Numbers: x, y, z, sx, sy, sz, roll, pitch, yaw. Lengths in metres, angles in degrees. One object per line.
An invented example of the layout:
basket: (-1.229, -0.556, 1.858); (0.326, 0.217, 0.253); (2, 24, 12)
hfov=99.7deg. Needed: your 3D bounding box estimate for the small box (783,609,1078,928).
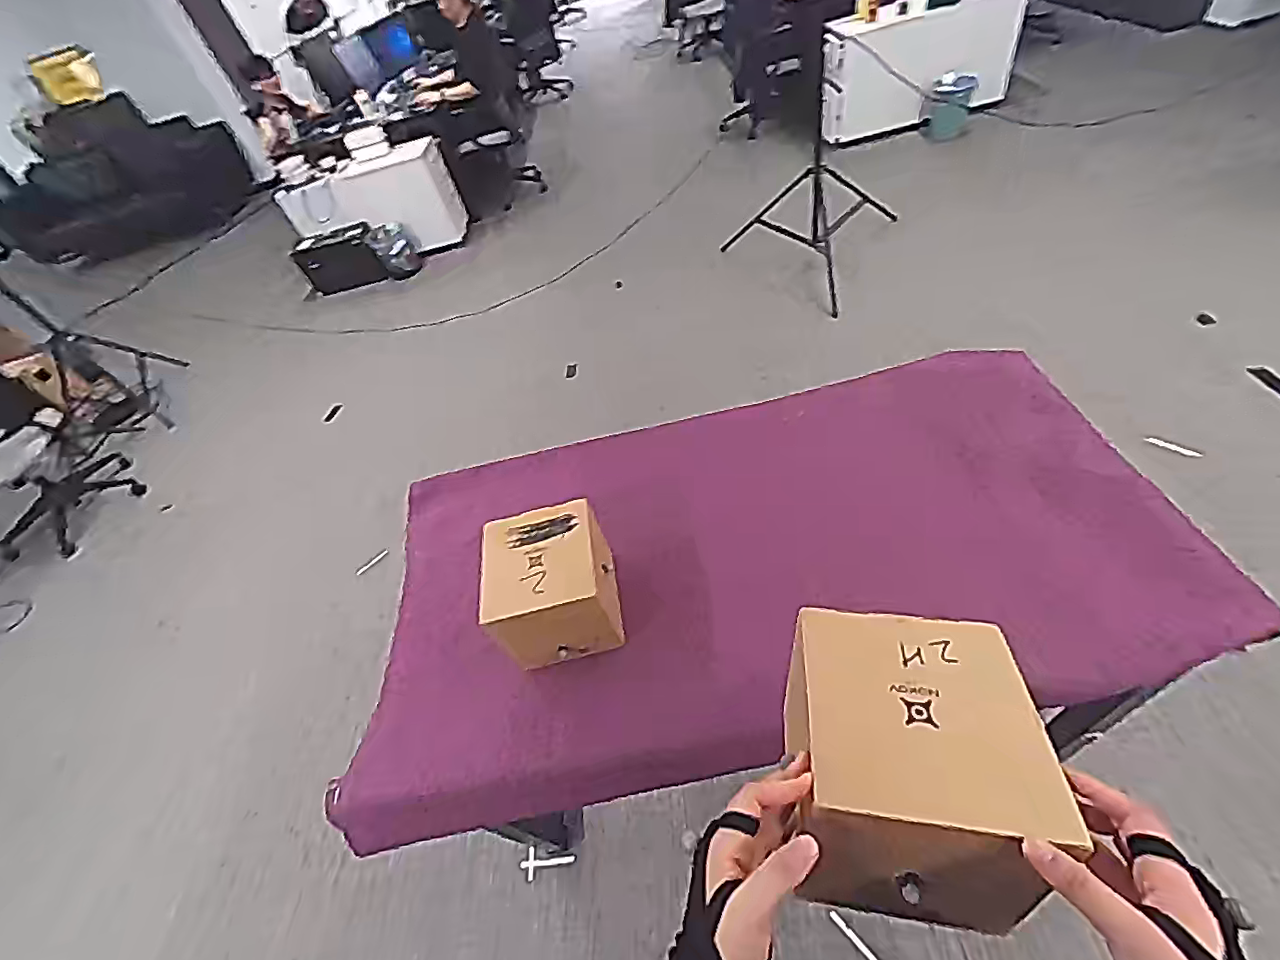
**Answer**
small box: (0.214, 0.238, 0.460); (0.168, 0.176, 0.179); (3, 34, 10)
